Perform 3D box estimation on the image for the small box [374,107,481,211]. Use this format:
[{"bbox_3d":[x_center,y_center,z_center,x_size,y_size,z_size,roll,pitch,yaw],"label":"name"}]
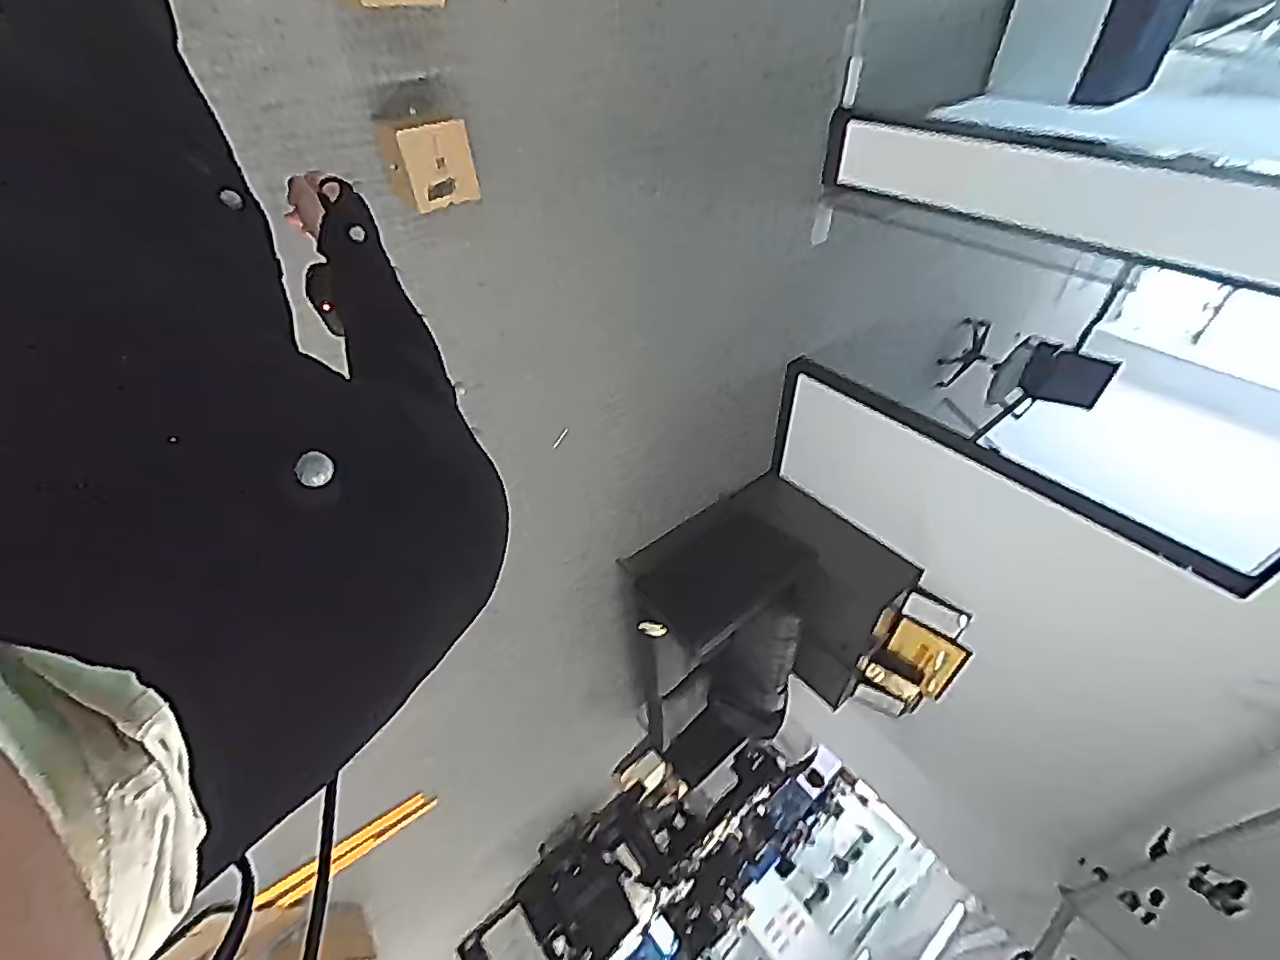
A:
[{"bbox_3d":[-0.515,-0.784,1.317,0.168,0.176,0.179,-30,140,-25],"label":"small box"}]
